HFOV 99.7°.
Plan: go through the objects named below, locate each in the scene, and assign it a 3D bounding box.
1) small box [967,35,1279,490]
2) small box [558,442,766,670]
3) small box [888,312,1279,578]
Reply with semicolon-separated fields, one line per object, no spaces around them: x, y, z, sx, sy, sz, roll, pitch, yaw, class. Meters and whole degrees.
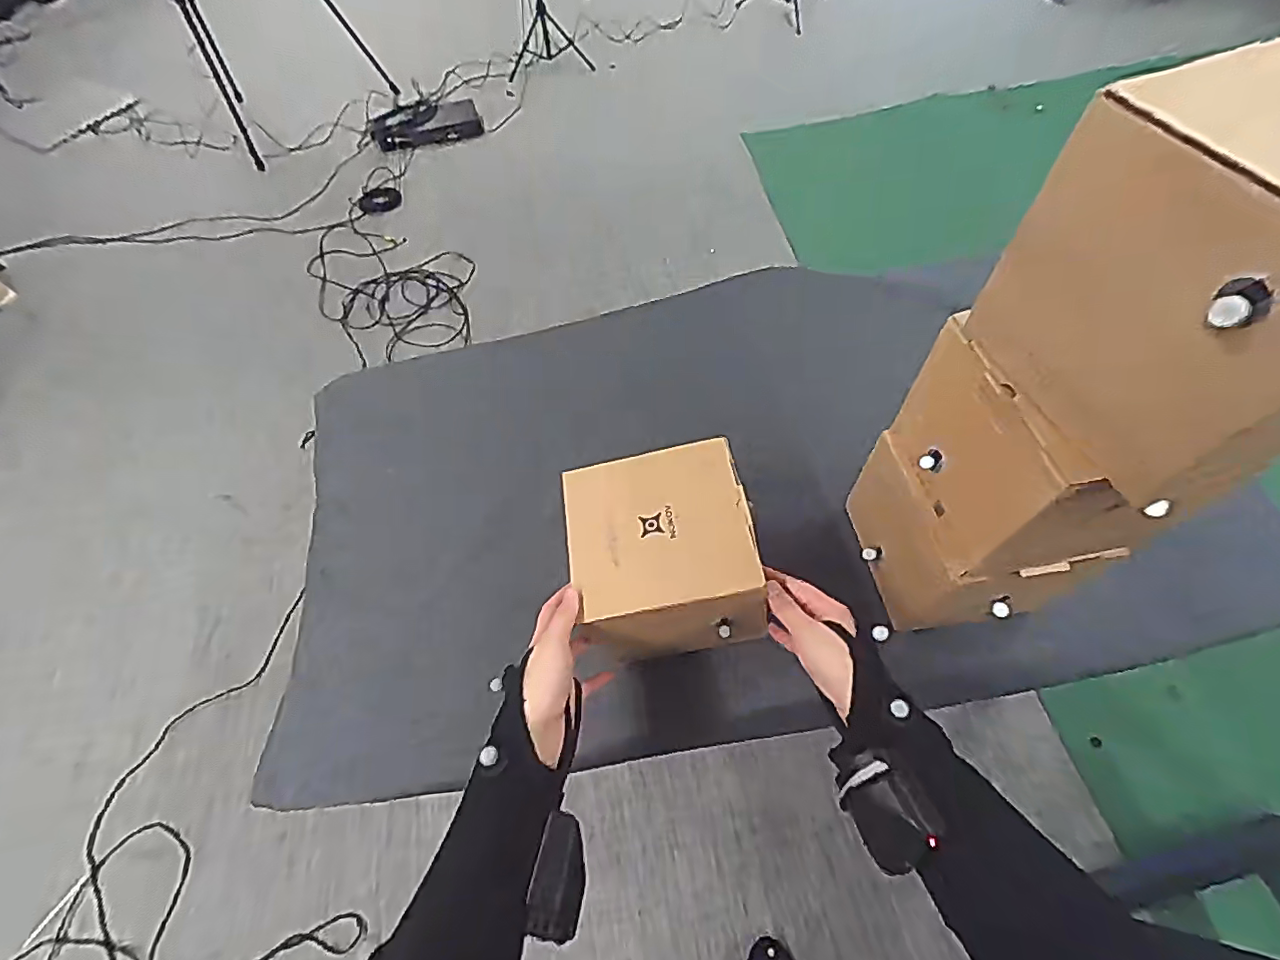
0.339;-0.113;0.309;0.168;0.176;0.179;-19;59;-5;small box
0.027;0.088;0.572;0.179;0.176;0.168;-14;57;7;small box
0.344;-0.034;0.455;0.179;0.176;0.168;-12;58;0;small box
